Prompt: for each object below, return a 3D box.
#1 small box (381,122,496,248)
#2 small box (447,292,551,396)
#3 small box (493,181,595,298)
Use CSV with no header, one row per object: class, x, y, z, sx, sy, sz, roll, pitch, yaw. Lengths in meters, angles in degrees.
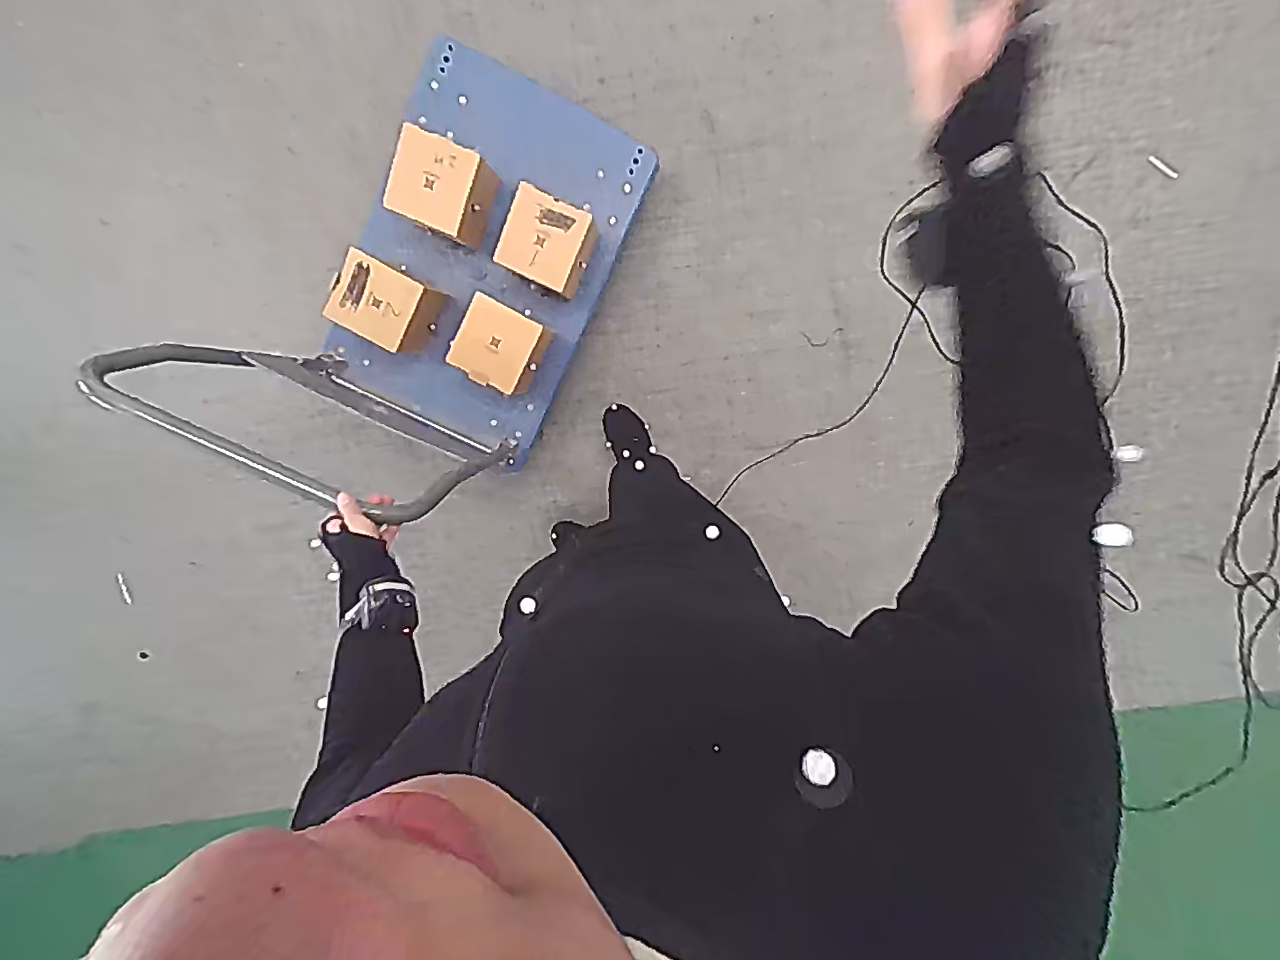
small box,-0.438,-0.641,1.201,0.168,0.176,0.179,21,102,-5
small box,-0.323,-0.319,1.277,0.168,0.176,0.179,27,102,-6
small box,-0.208,-0.534,1.225,0.168,0.176,0.179,24,103,-5
